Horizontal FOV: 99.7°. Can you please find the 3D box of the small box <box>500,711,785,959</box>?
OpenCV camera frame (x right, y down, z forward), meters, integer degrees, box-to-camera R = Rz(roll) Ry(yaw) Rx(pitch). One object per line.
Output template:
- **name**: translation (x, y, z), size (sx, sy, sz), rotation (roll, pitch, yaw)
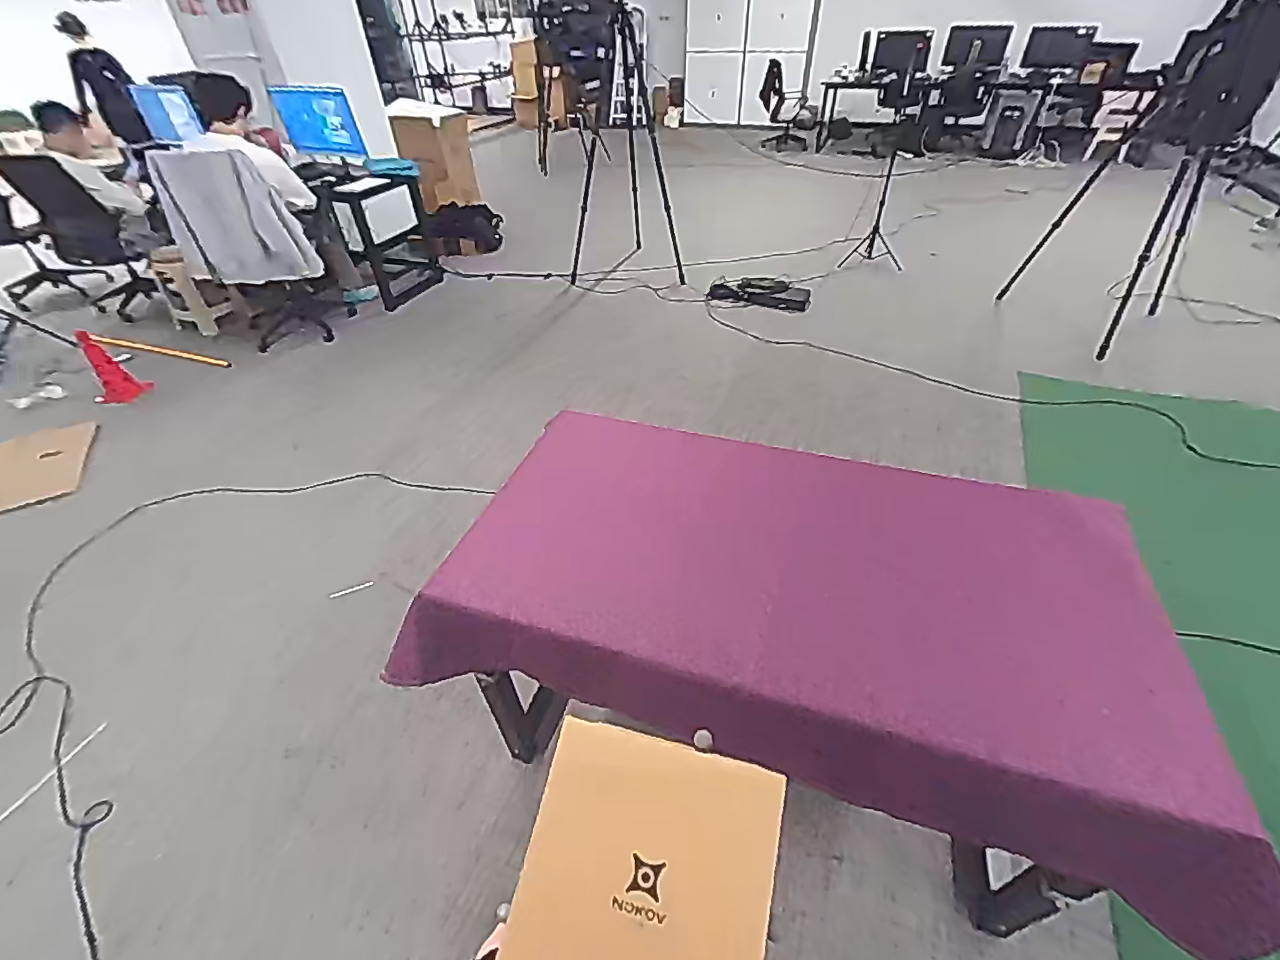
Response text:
- **small box**: translation (0.009, 0.298, 0.434), size (0.168, 0.176, 0.179), rotation (11, 68, 10)
